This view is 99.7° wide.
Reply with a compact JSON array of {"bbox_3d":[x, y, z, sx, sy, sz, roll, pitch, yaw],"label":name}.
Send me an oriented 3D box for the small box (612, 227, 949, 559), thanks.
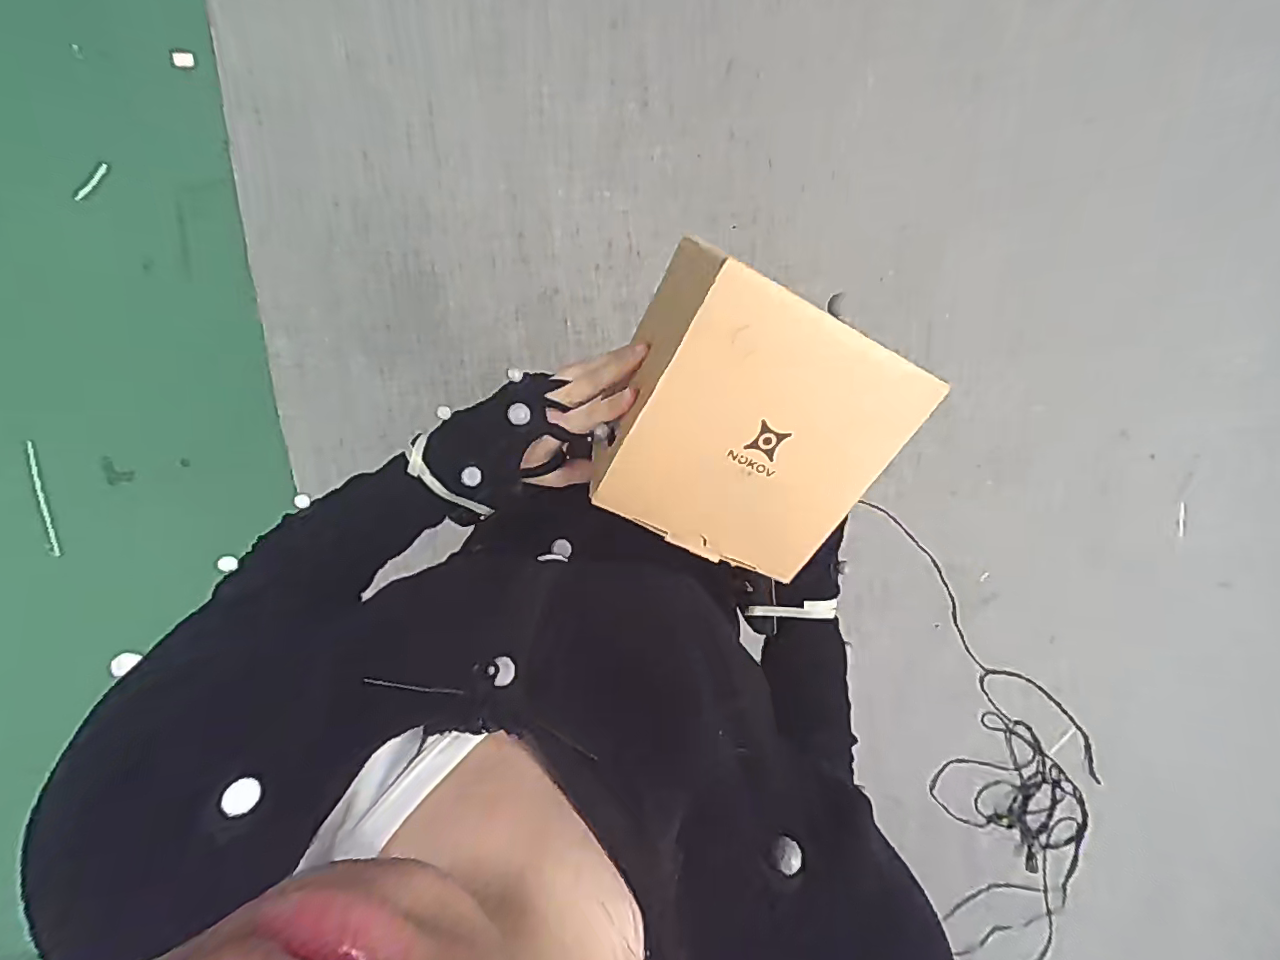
[{"bbox_3d":[0.083,-0.076,0.426,0.168,0.176,0.179,24,115,-17],"label":"small box"}]
